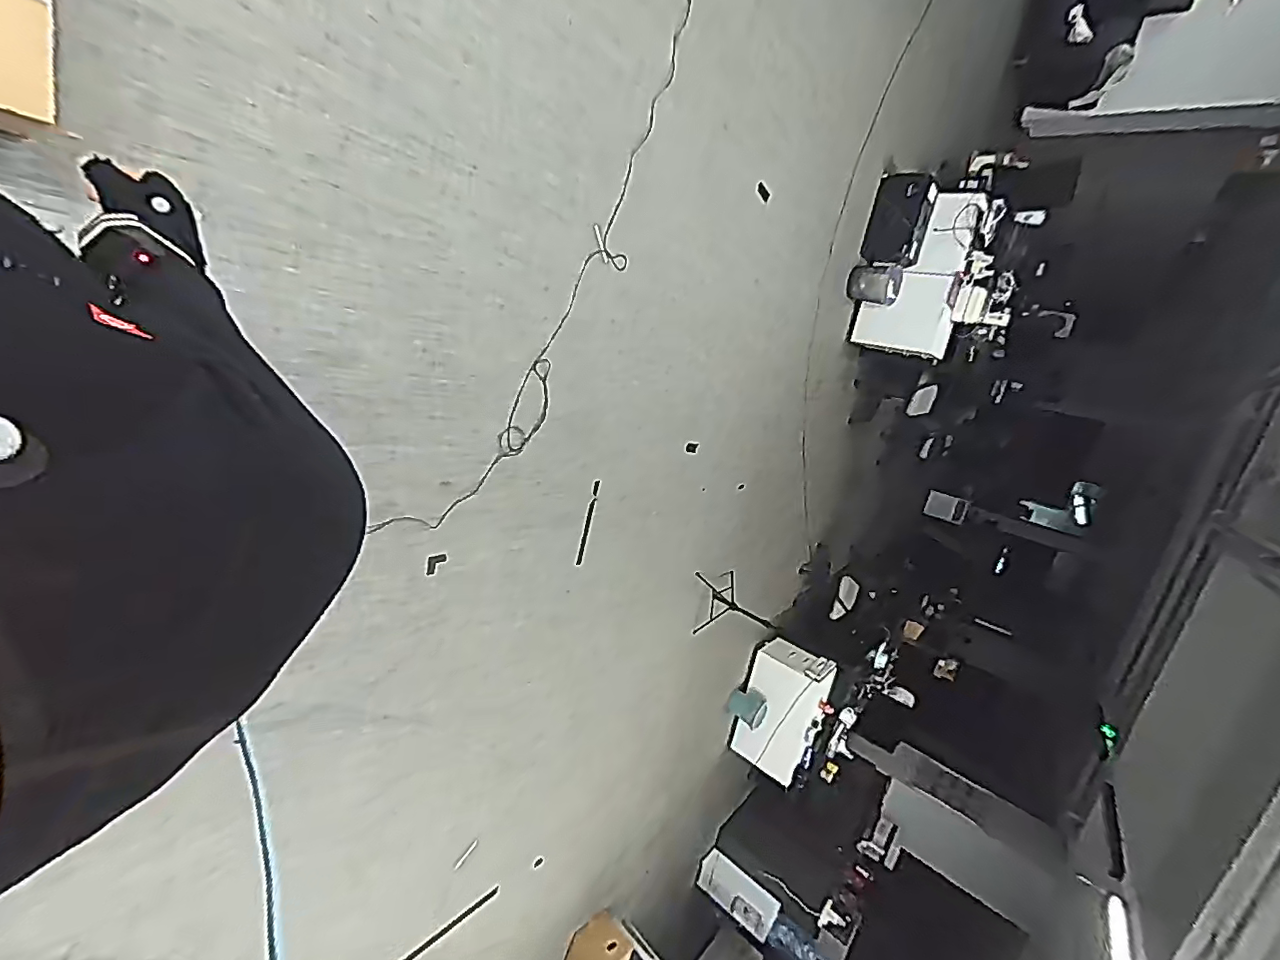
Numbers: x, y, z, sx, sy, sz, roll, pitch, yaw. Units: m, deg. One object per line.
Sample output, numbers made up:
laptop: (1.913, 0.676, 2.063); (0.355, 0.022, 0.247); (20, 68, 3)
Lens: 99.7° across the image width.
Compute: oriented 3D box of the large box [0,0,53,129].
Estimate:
large box: (-1.027, -0.681, 0.645); (0.408, 0.320, 0.320); (-5, 113, -53)
